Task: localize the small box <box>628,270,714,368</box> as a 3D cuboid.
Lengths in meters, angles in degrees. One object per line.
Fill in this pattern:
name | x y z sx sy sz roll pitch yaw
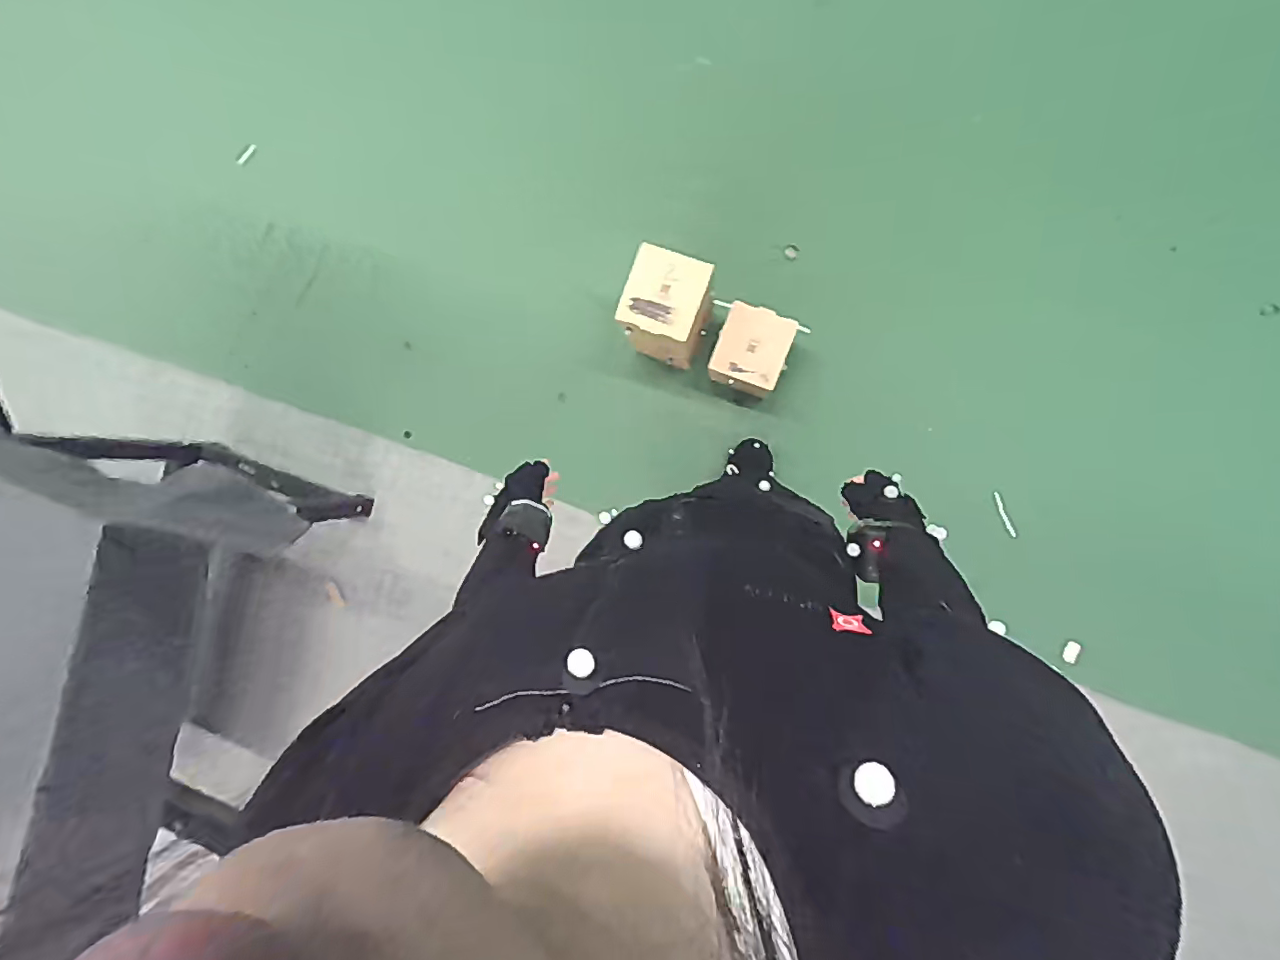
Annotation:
small box | 0.088 -0.407 1.397 0.168 0.176 0.179 24 95 7
